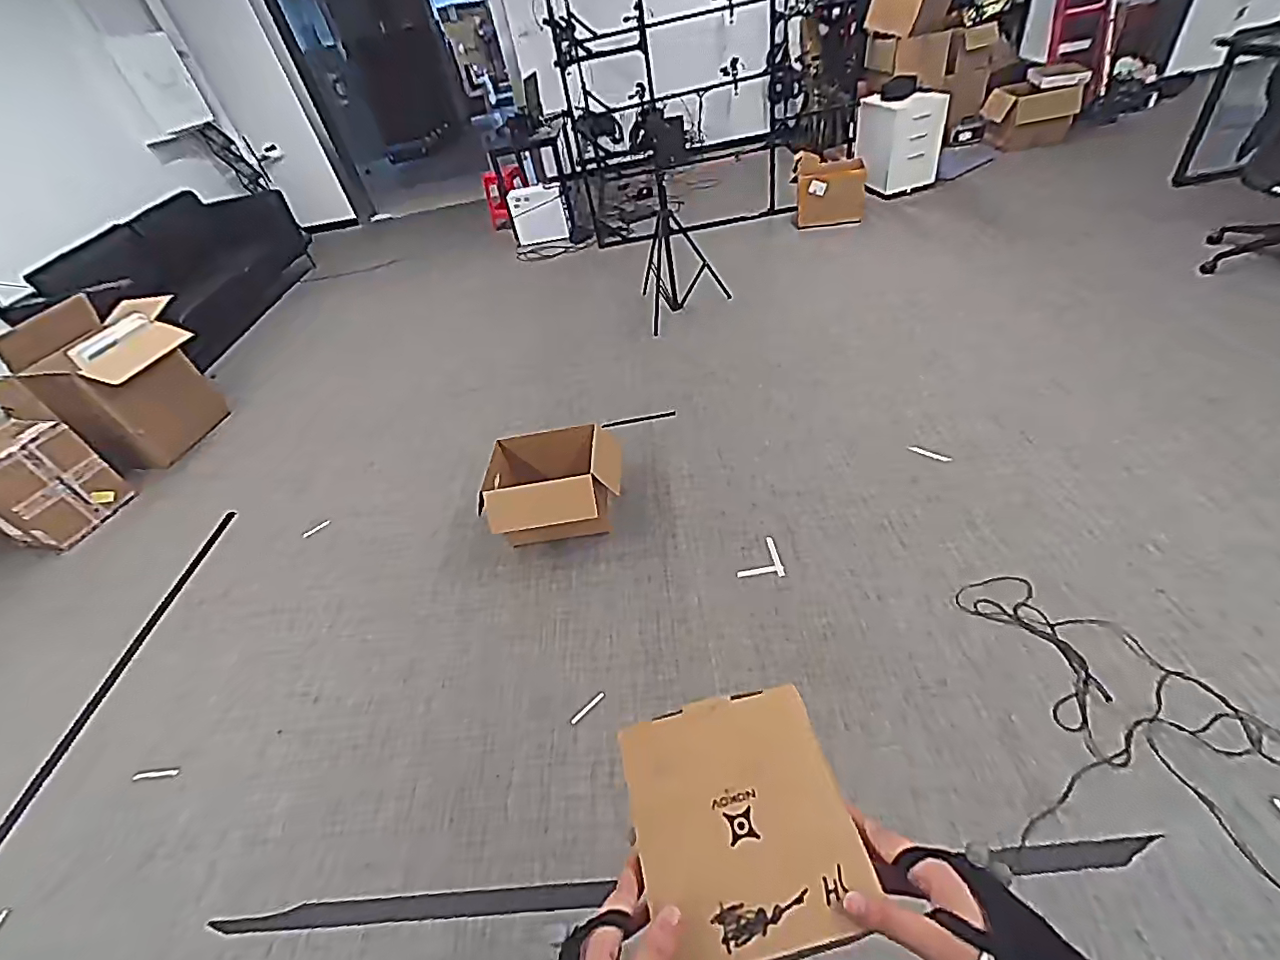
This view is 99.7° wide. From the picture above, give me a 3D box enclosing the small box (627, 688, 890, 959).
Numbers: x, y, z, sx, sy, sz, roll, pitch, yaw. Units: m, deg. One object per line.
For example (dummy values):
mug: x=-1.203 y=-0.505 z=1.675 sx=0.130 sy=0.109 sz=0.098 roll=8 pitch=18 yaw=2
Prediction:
small box: x=0.090 y=0.321 z=0.489 sx=0.168 sy=0.176 sz=0.179 roll=-13 pitch=47 yaw=-3
